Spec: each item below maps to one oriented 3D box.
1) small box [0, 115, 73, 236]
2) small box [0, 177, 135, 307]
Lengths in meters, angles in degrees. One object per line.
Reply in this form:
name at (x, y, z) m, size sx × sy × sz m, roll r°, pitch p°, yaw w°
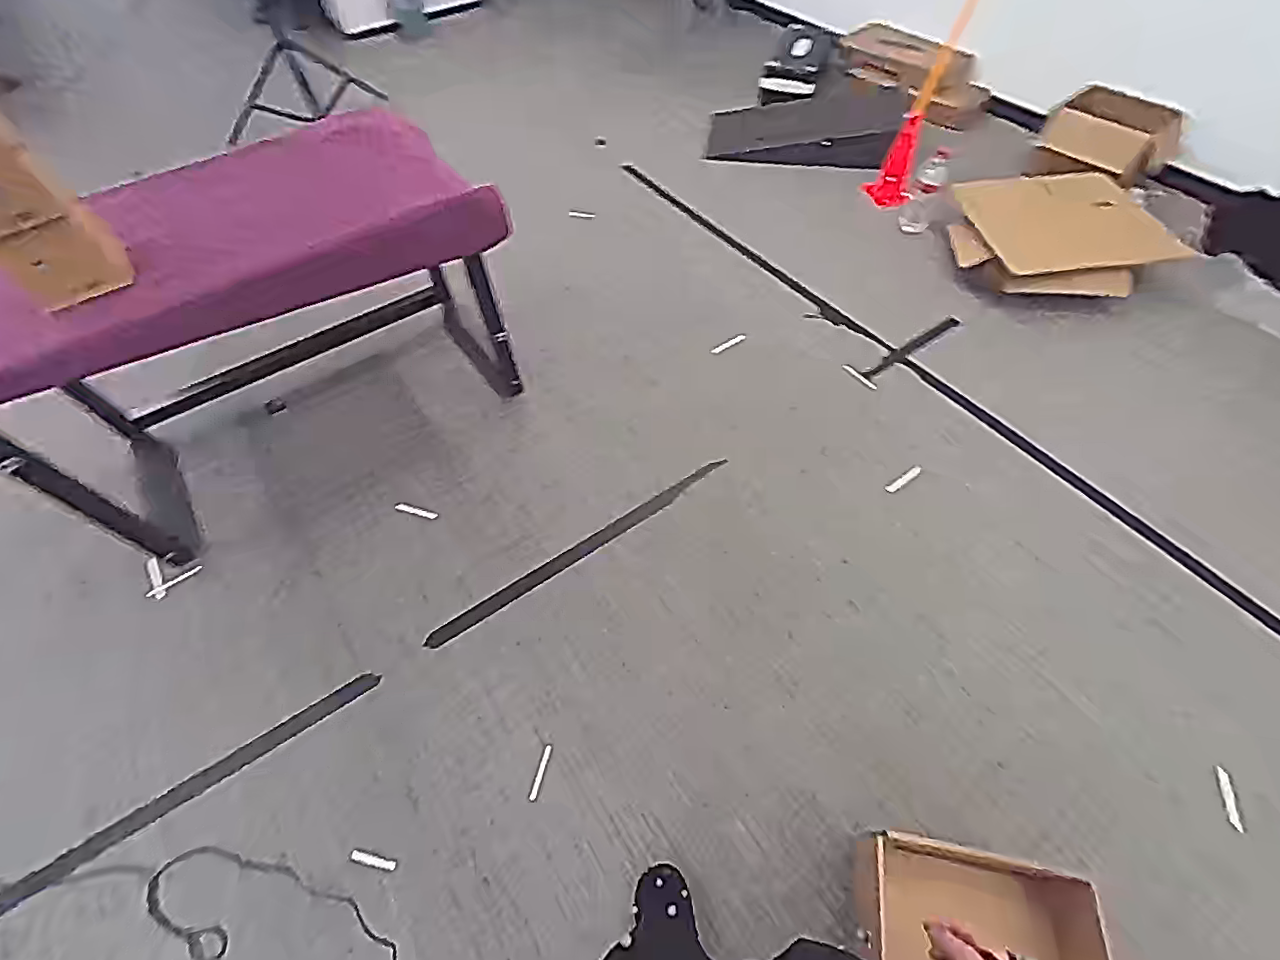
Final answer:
small box at (-1.203, -0.565, 0.986) m, size 0.168 × 0.176 × 0.179 m, roll -36°, pitch 63°, yaw -20°
small box at (-1.214, -0.489, 1.132) m, size 0.168 × 0.176 × 0.179 m, roll -32°, pitch 61°, yaw -18°
